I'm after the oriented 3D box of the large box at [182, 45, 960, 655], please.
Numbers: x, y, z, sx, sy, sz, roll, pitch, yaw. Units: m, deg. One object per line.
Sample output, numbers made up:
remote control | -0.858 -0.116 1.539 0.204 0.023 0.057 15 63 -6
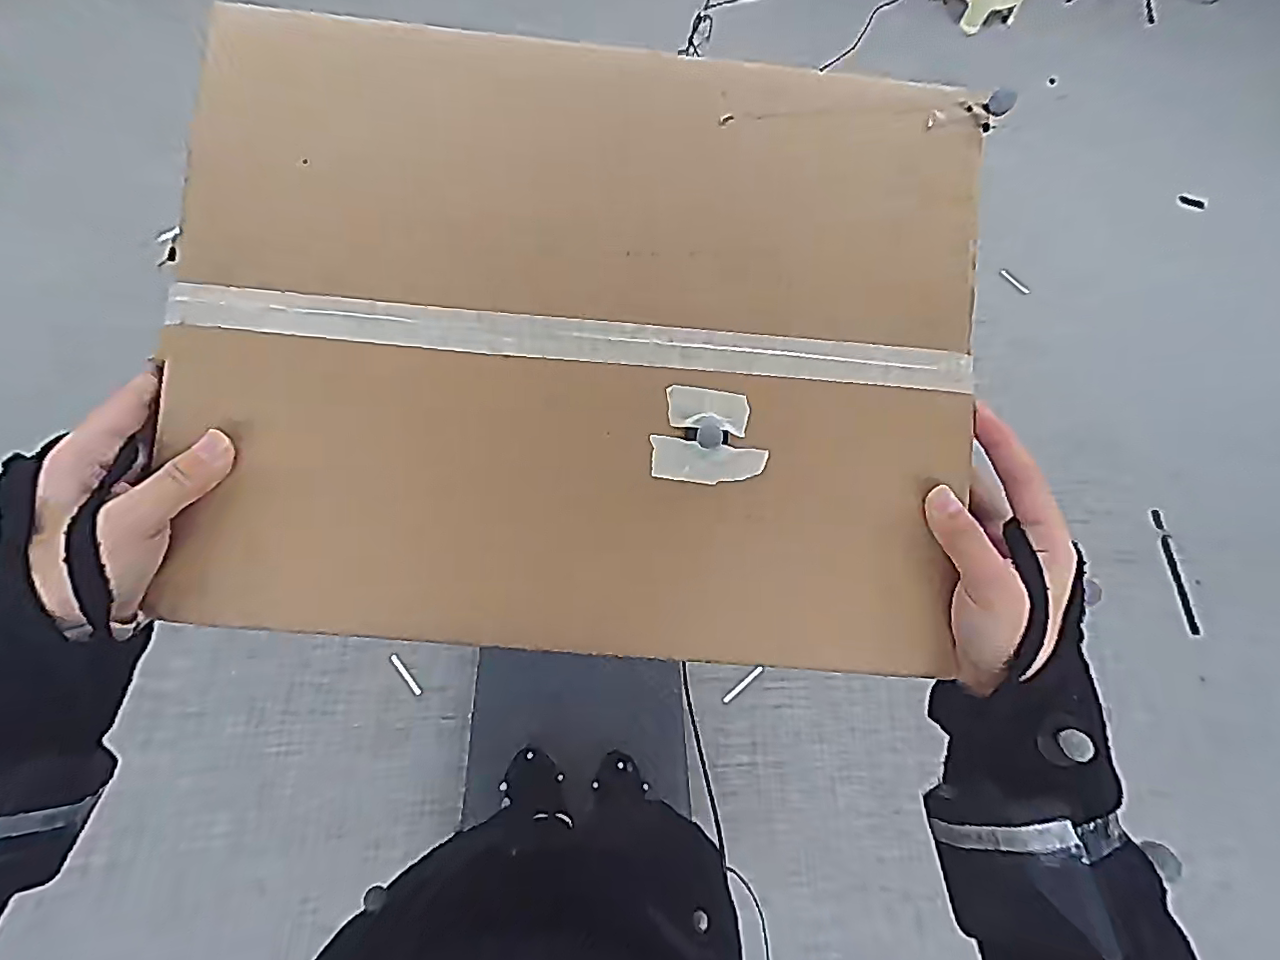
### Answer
large box | -0.034 -0.063 0.439 0.408 0.320 0.320 5 88 -2
